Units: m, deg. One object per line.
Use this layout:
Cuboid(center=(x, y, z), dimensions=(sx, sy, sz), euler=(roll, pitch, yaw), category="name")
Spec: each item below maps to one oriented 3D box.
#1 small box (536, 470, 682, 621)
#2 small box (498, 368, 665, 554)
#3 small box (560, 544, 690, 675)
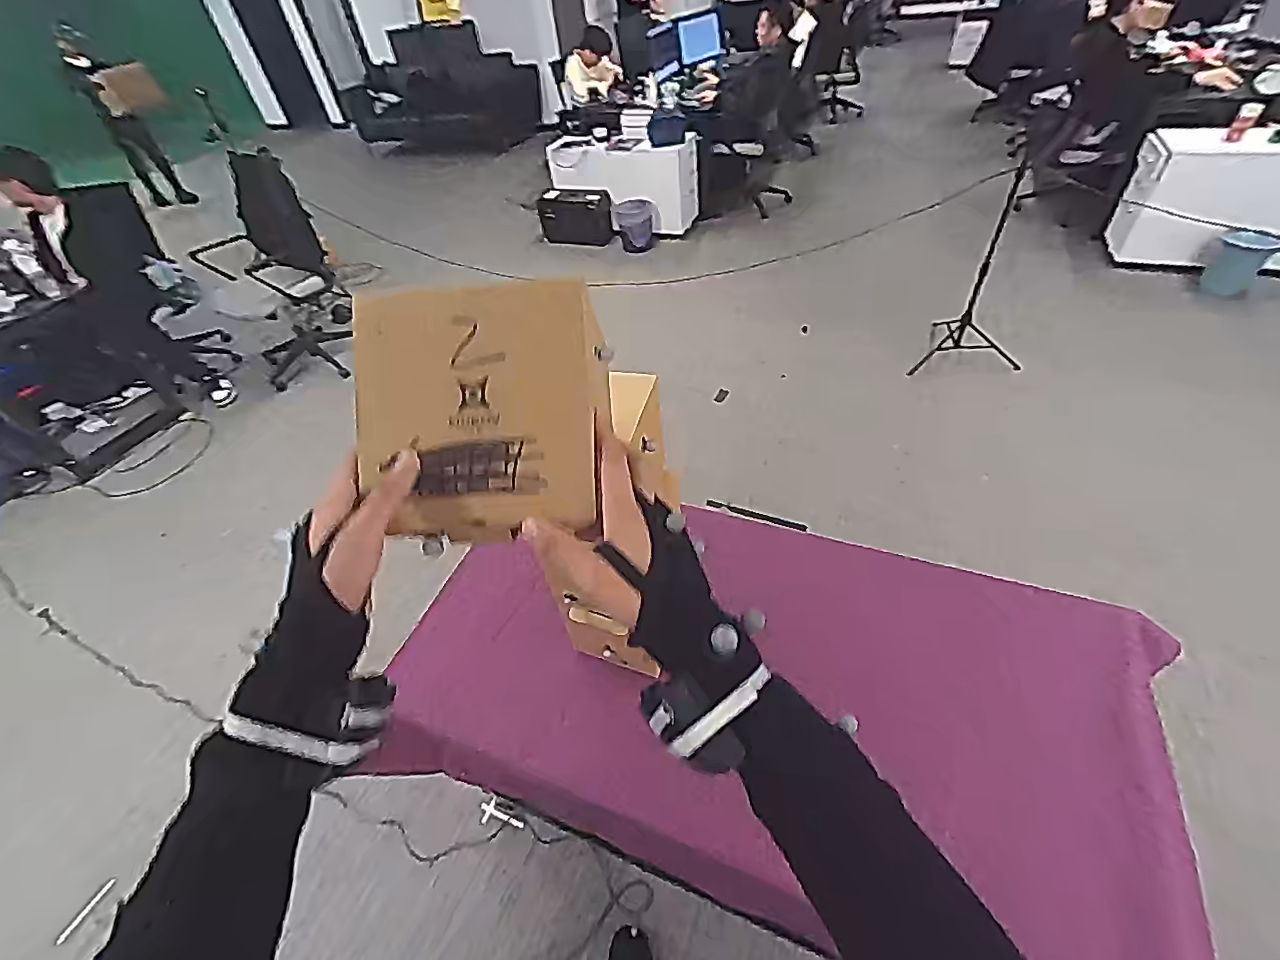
Cuboid(center=(-0.034, 0.092, 0.837), dimensions=(0.168, 0.176, 0.179), euler=(10, 47, 17), category="small box")
Cuboid(center=(-0.063, -0.027, 0.729), dimensions=(0.168, 0.176, 0.179), euler=(7, 47, 14), category="small box")
Cuboid(center=(-0.017, 0.208, 0.952), dimensions=(0.168, 0.176, 0.179), euler=(13, 49, 20), category="small box")
